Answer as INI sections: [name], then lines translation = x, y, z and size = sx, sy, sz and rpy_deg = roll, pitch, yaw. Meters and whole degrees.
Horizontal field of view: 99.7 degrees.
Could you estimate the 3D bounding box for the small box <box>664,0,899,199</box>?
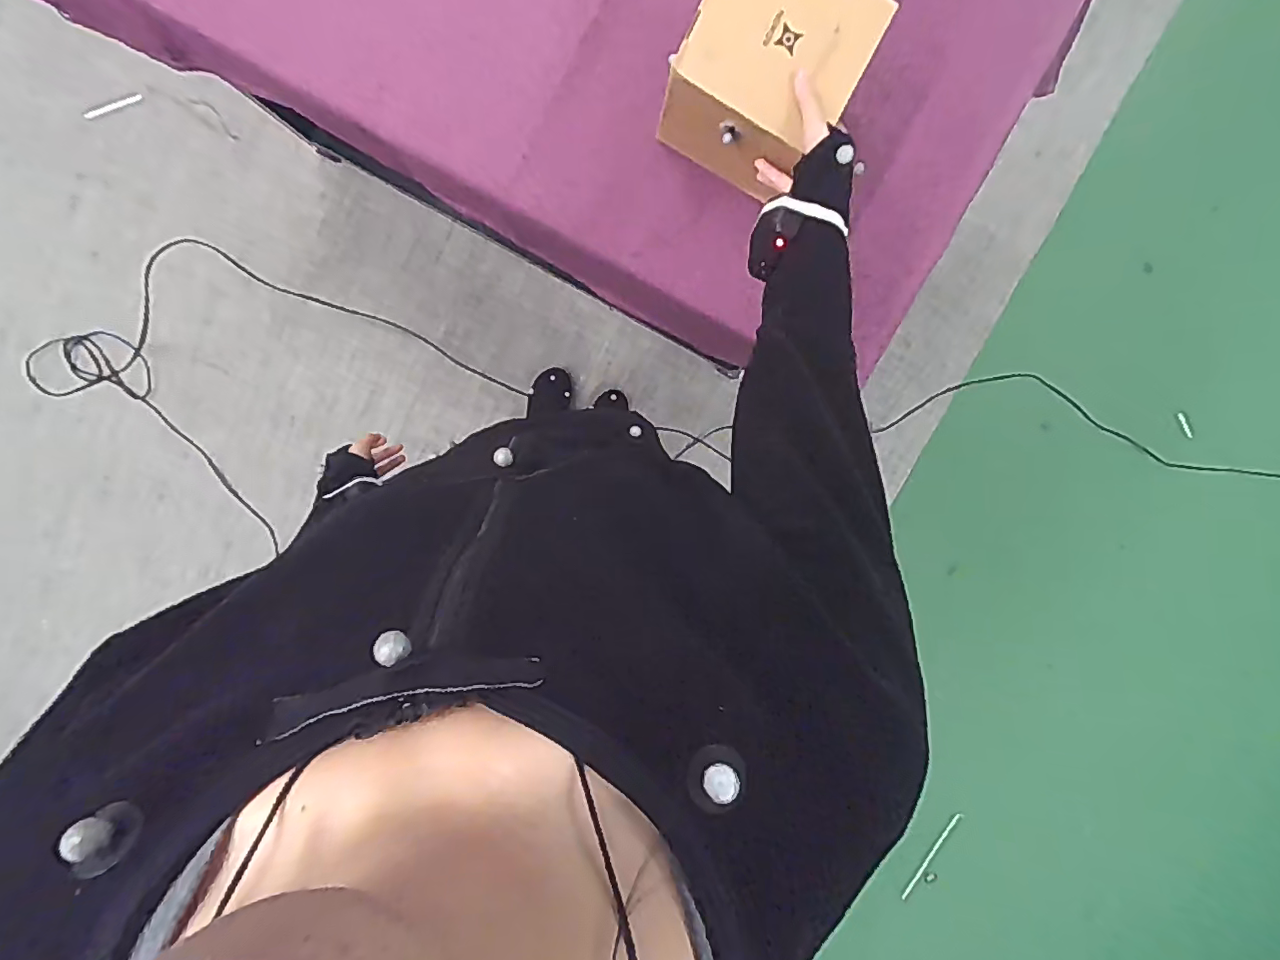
[small box]
translation = 0.142, -0.457, 0.618
size = 0.179, 0.176, 0.168
rpy_deg = 27, 99, -9
